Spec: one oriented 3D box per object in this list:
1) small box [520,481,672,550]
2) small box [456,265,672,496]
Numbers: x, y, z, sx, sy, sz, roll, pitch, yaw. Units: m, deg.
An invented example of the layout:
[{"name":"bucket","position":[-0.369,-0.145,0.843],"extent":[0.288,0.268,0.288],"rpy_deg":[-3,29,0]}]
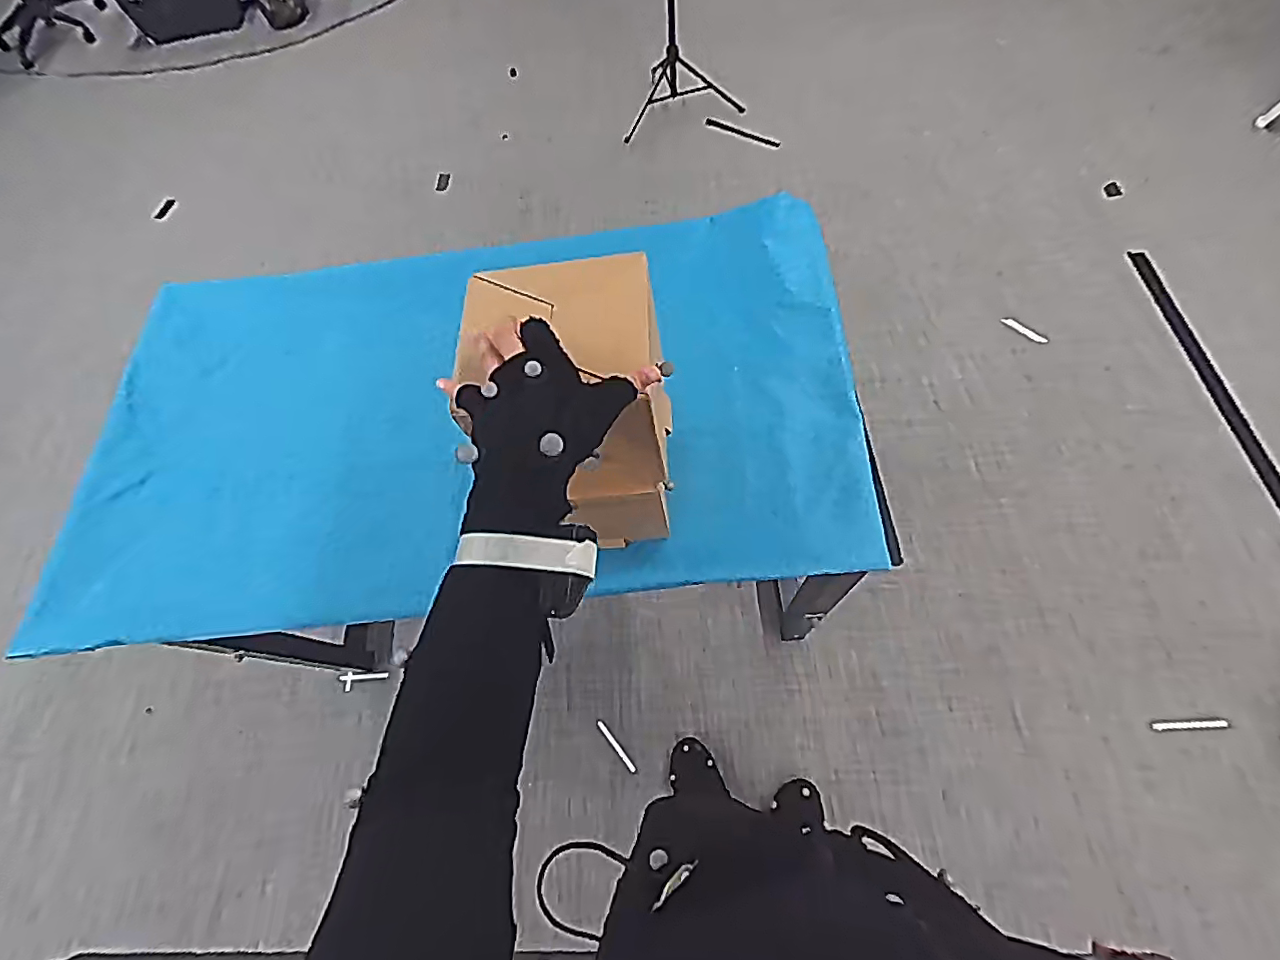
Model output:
[{"name":"small box","position":[-0.053,-0.022,0.709],"extent":[0.168,0.176,0.179],"rpy_deg":[-6,64,5]},{"name":"small box","position":[-0.066,-0.097,0.565],"extent":[0.179,0.176,0.168],"rpy_deg":[-5,63,8]}]
